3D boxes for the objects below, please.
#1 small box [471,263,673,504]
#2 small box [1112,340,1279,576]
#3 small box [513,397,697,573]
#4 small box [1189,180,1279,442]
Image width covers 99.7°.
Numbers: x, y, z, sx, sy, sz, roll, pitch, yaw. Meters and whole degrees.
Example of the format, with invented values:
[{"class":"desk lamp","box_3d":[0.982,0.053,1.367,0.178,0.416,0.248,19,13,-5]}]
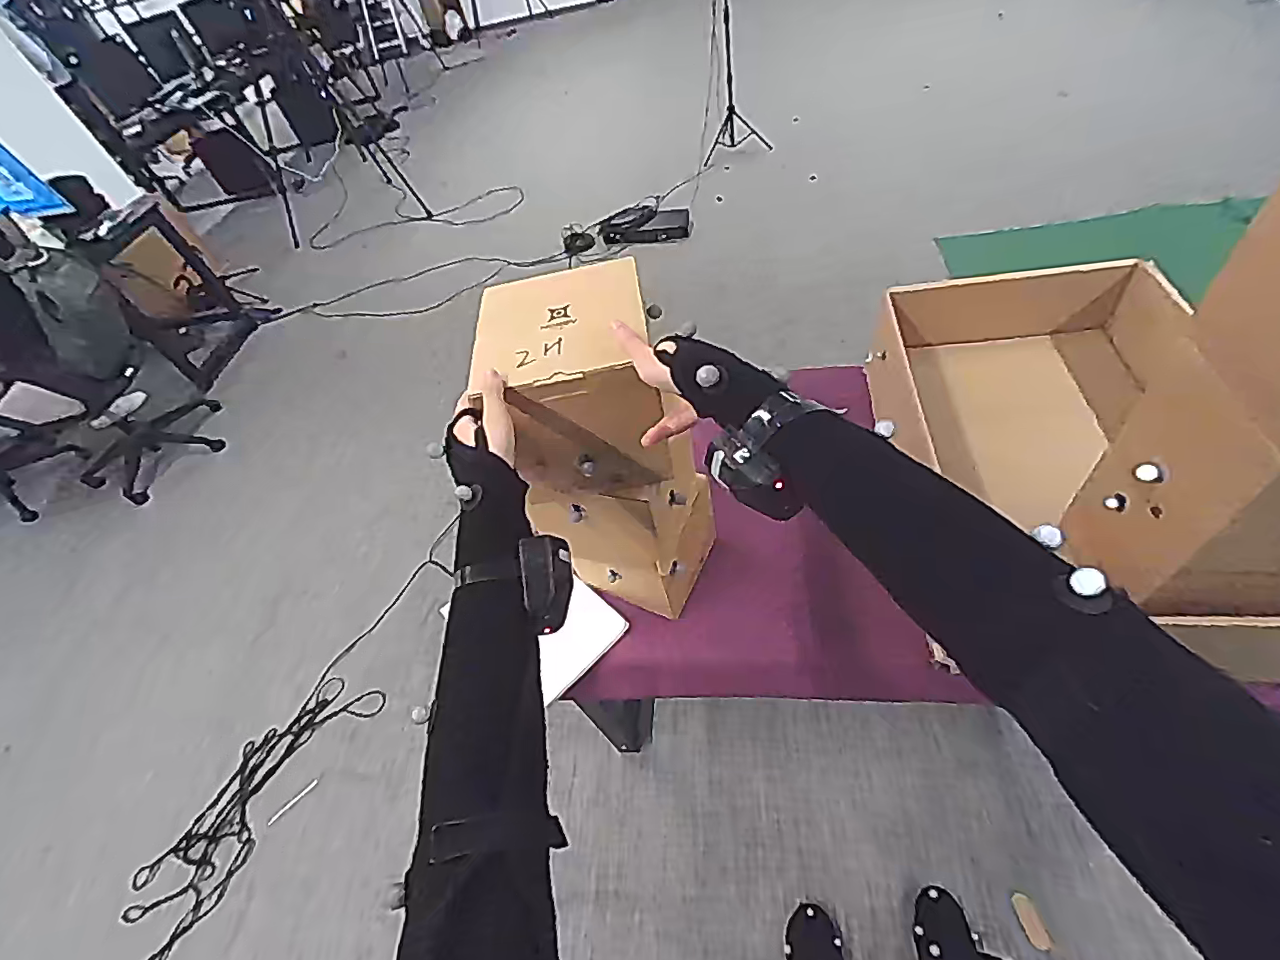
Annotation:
[{"class":"small box","box_3d":[-0.061,-0.100,0.581,0.168,0.176,0.179,-10,51,5]},{"class":"small box","box_3d":[0.602,-0.020,0.502,0.179,0.176,0.168,-3,50,15]},{"class":"small box","box_3d":[-0.030,0.003,0.705,0.179,0.176,0.168,8,54,19]},{"class":"small box","box_3d":[0.566,-0.127,0.384,0.168,0.176,0.179,-2,50,14]}]
